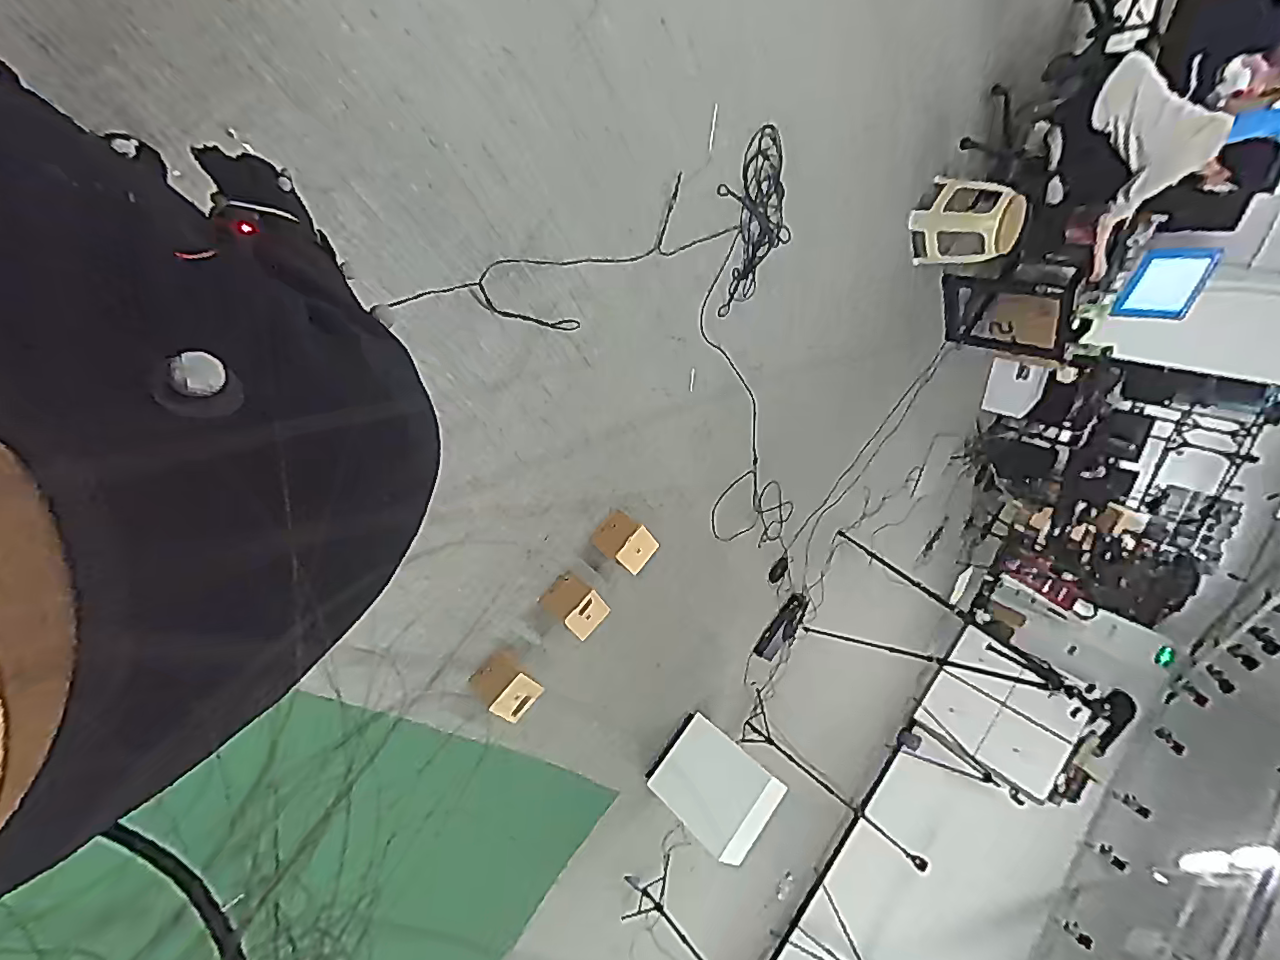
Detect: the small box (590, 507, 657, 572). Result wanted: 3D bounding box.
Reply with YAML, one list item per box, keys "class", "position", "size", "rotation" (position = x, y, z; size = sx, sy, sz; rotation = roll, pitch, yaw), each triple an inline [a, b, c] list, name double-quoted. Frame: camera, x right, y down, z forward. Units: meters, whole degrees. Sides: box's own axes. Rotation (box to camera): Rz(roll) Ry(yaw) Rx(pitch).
- class: "small box"
  position: [-0.067, 0.236, 2.197]
  size: [0.168, 0.176, 0.179]
  rotation: [-51, 137, -13]

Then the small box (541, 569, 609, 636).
- class: "small box"
  position: [-0.260, 0.476, 2.133]
  size: [0.168, 0.176, 0.179]
  rotation: [-45, 137, -17]
